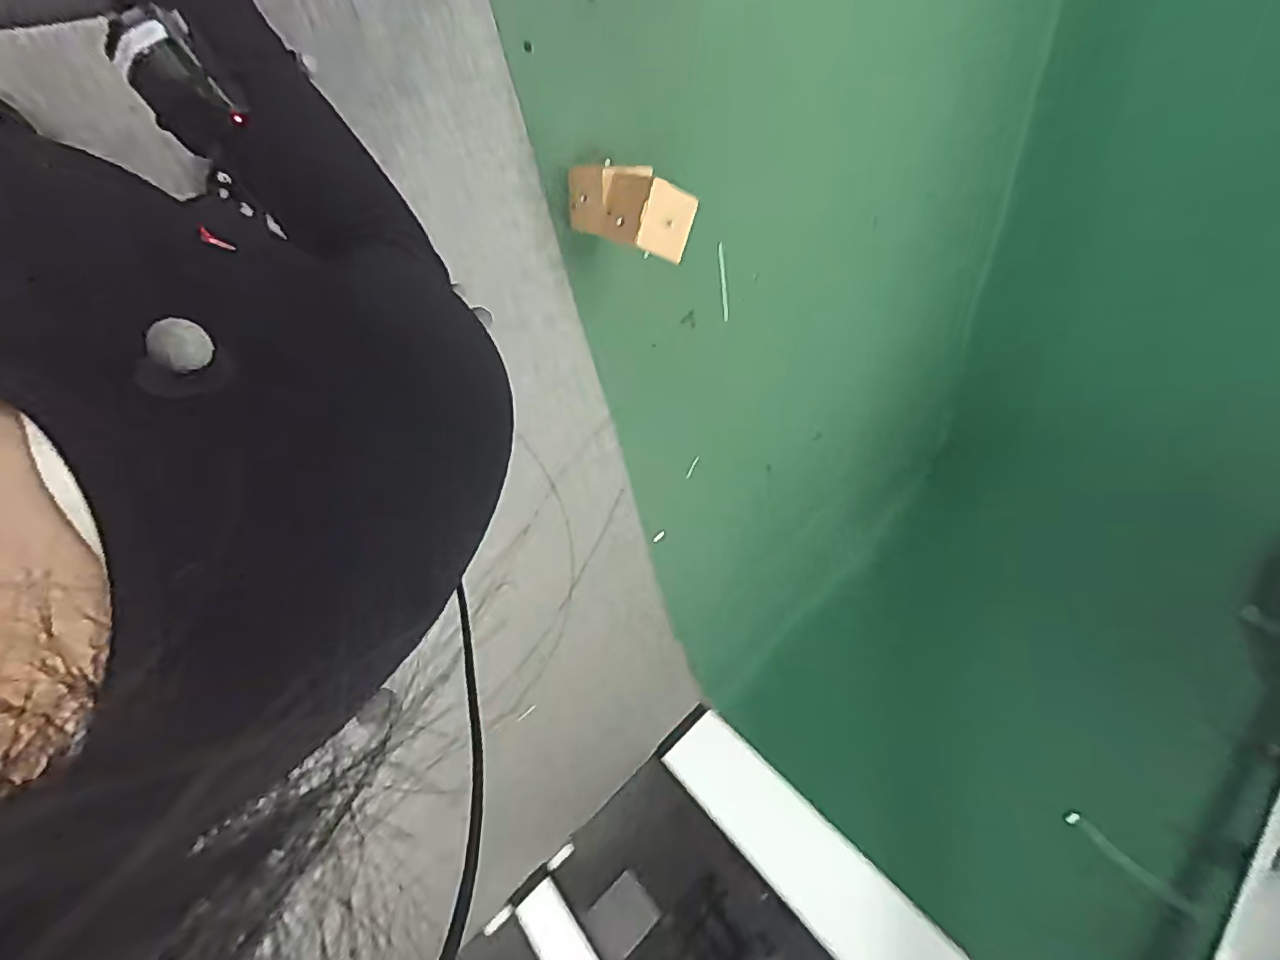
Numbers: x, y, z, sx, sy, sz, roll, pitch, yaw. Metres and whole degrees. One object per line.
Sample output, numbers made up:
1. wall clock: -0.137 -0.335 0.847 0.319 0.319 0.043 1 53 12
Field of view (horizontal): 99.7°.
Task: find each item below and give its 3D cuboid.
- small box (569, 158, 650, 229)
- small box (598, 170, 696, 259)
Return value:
1. small box: -0.092 -0.816 1.543 0.179 0.176 0.168 -24 132 -33
2. small box: 0.013 -0.718 1.460 0.179 0.176 0.168 -2 119 -45
